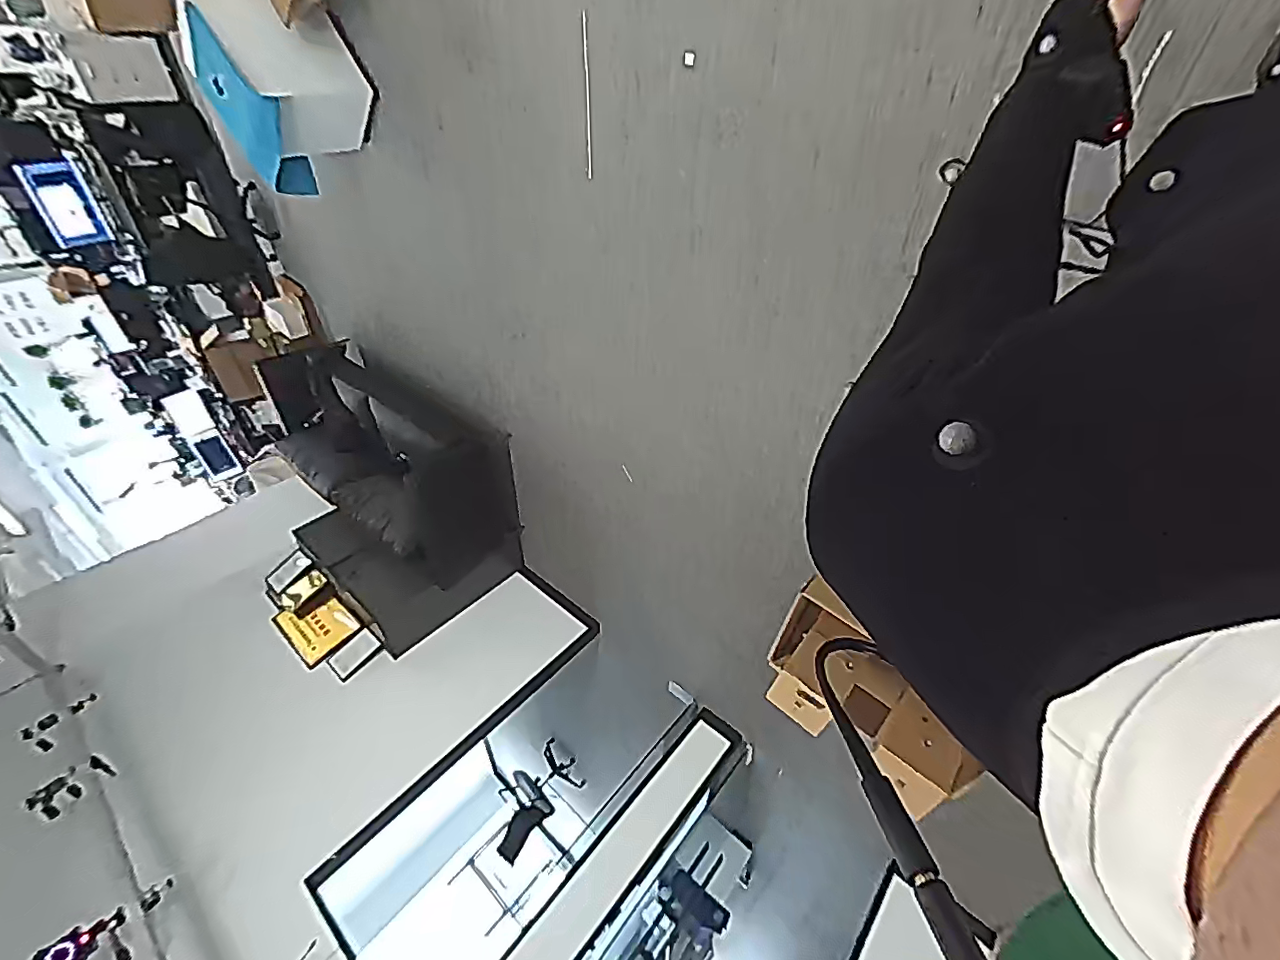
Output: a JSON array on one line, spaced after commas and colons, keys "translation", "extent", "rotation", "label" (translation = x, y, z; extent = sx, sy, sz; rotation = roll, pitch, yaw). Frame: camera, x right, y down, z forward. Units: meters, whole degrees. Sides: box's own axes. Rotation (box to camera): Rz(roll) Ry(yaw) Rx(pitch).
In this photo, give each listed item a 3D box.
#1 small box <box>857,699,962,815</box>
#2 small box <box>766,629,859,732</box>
[{"translation": [0.693, 0.702, 1.385], "extent": [0.168, 0.176, 0.179], "rotation": [33, 137, 27], "label": "small box"}, {"translation": [0.483, 0.551, 1.504], "extent": [0.168, 0.176, 0.179], "rotation": [35, 140, 24], "label": "small box"}]
